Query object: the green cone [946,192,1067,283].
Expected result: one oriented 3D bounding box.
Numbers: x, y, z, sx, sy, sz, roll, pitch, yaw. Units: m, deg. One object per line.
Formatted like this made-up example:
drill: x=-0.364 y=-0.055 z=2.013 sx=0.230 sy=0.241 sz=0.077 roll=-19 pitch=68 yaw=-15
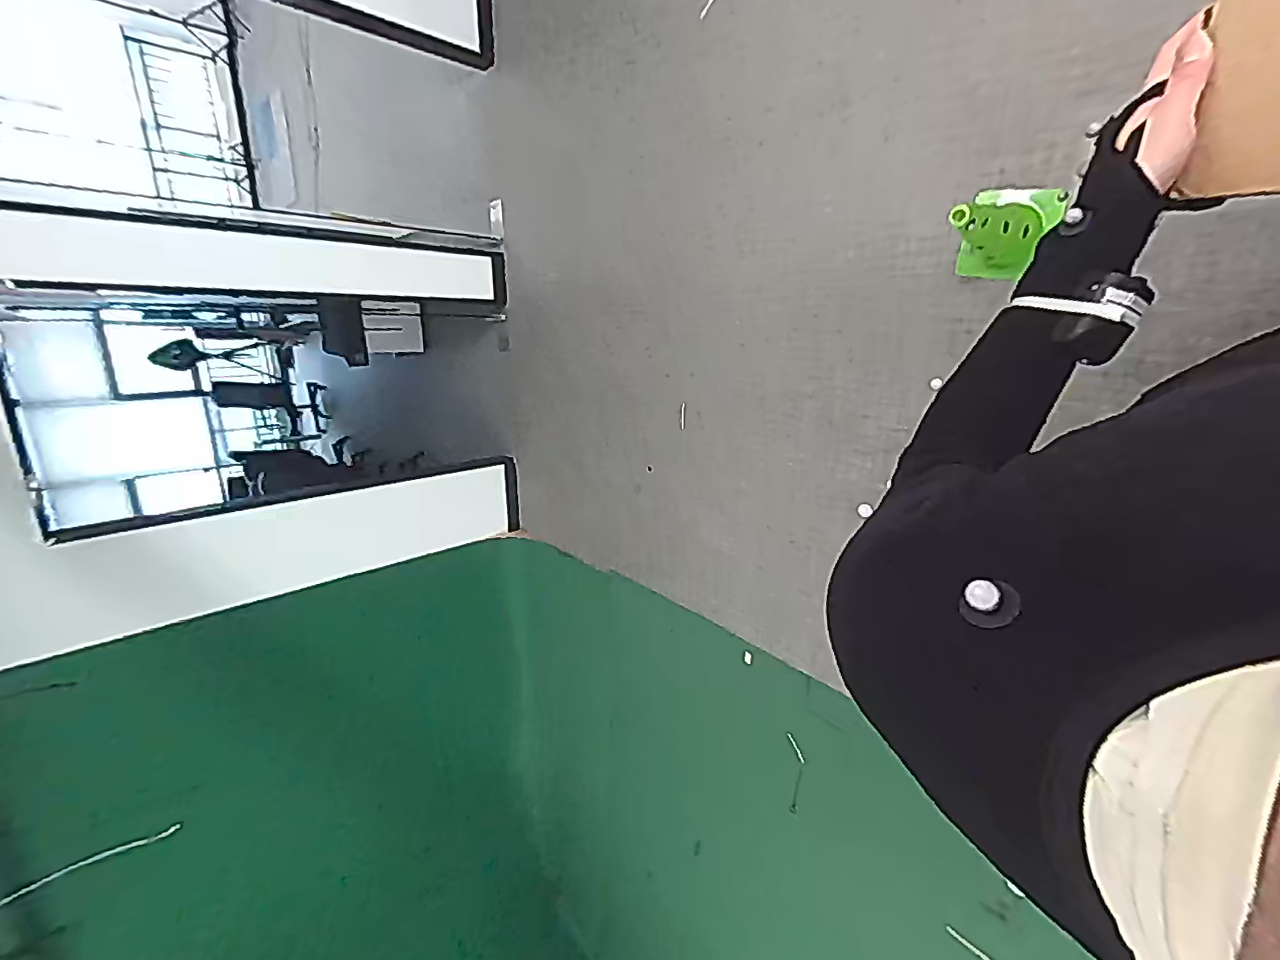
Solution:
green cone: x=0.781 y=-0.563 z=1.225 sx=0.200 sy=0.368 sz=0.202 roll=25 pitch=120 yaw=43
